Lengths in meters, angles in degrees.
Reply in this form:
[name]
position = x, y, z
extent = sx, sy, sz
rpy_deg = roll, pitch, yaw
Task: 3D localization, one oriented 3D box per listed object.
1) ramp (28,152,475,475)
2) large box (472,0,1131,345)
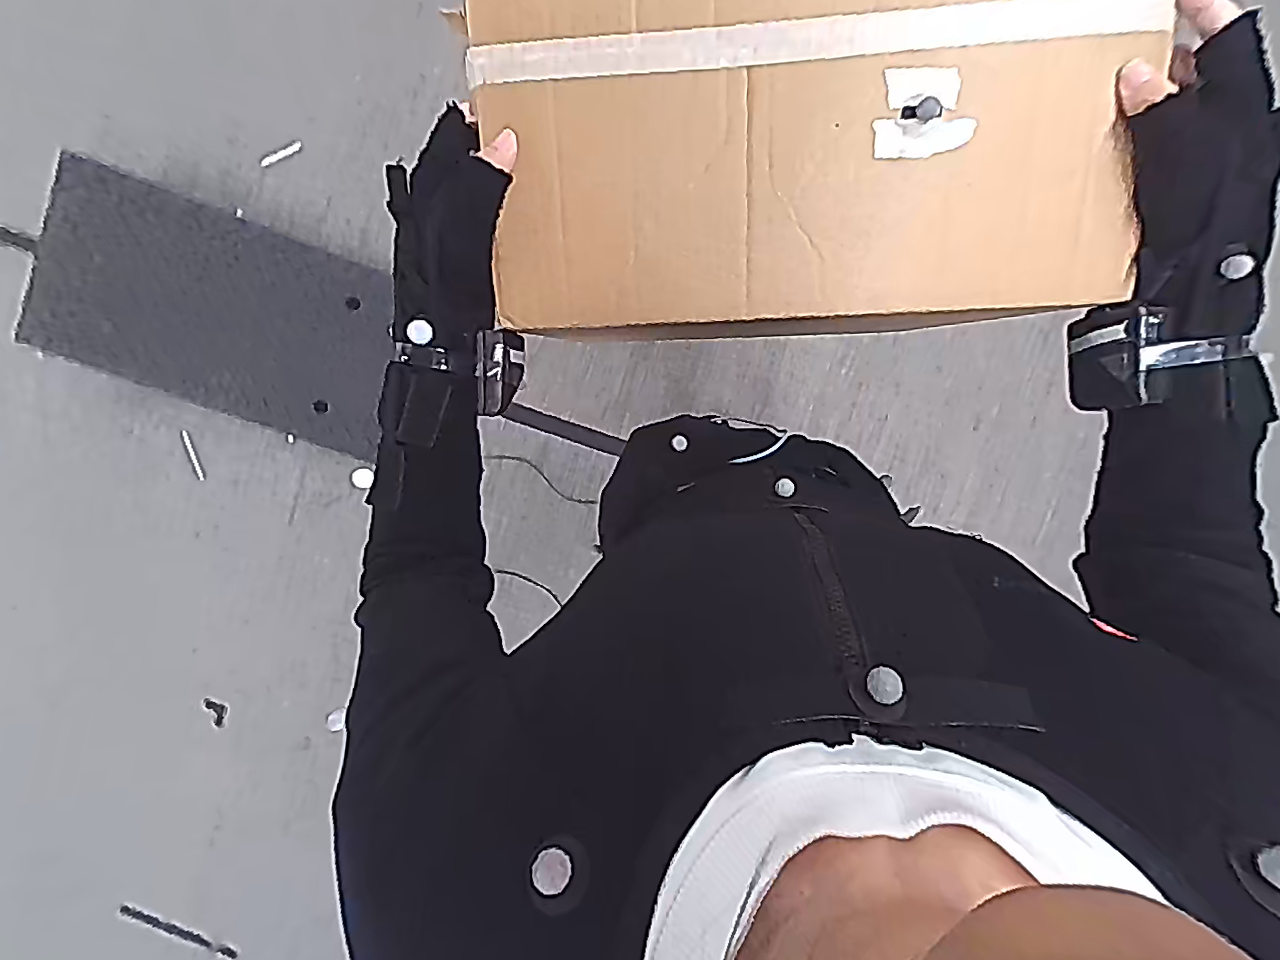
[ramp]
position = -0.982, -0.405, 1.405
extent = 0.991, 0.206, 0.509
rpy_deg = 19, 95, 1
[large box]
position = 0.100, -0.298, 0.481
extent = 0.408, 0.320, 0.320
rpy_deg = -3, 103, 3
